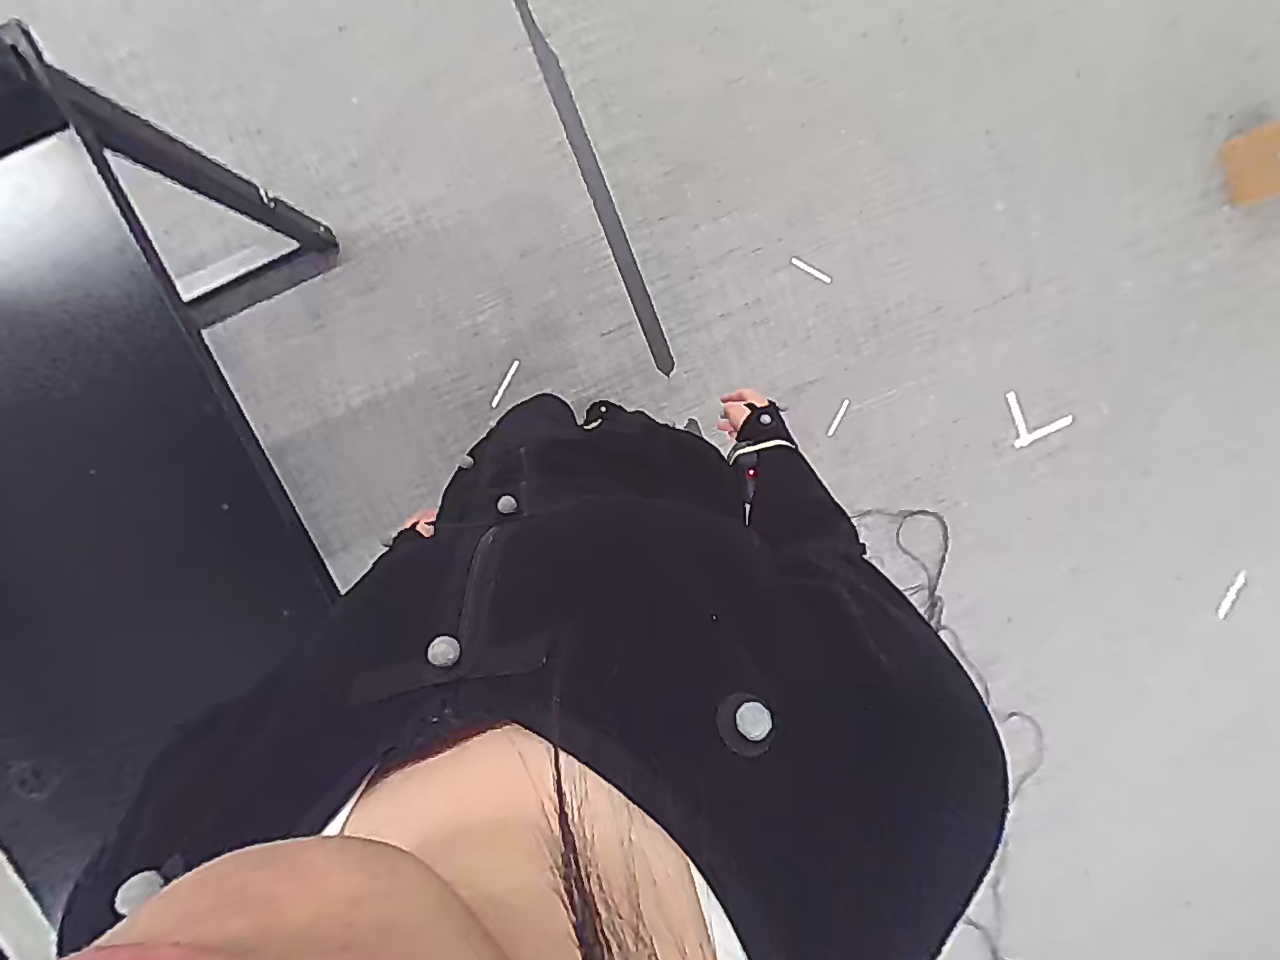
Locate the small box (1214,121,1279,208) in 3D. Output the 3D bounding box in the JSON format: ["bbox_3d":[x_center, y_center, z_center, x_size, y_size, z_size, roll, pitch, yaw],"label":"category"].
[{"bbox_3d":[1.626,-0.816,1.363,0.168,0.176,0.179,-23,98,1],"label":"small box"}]
